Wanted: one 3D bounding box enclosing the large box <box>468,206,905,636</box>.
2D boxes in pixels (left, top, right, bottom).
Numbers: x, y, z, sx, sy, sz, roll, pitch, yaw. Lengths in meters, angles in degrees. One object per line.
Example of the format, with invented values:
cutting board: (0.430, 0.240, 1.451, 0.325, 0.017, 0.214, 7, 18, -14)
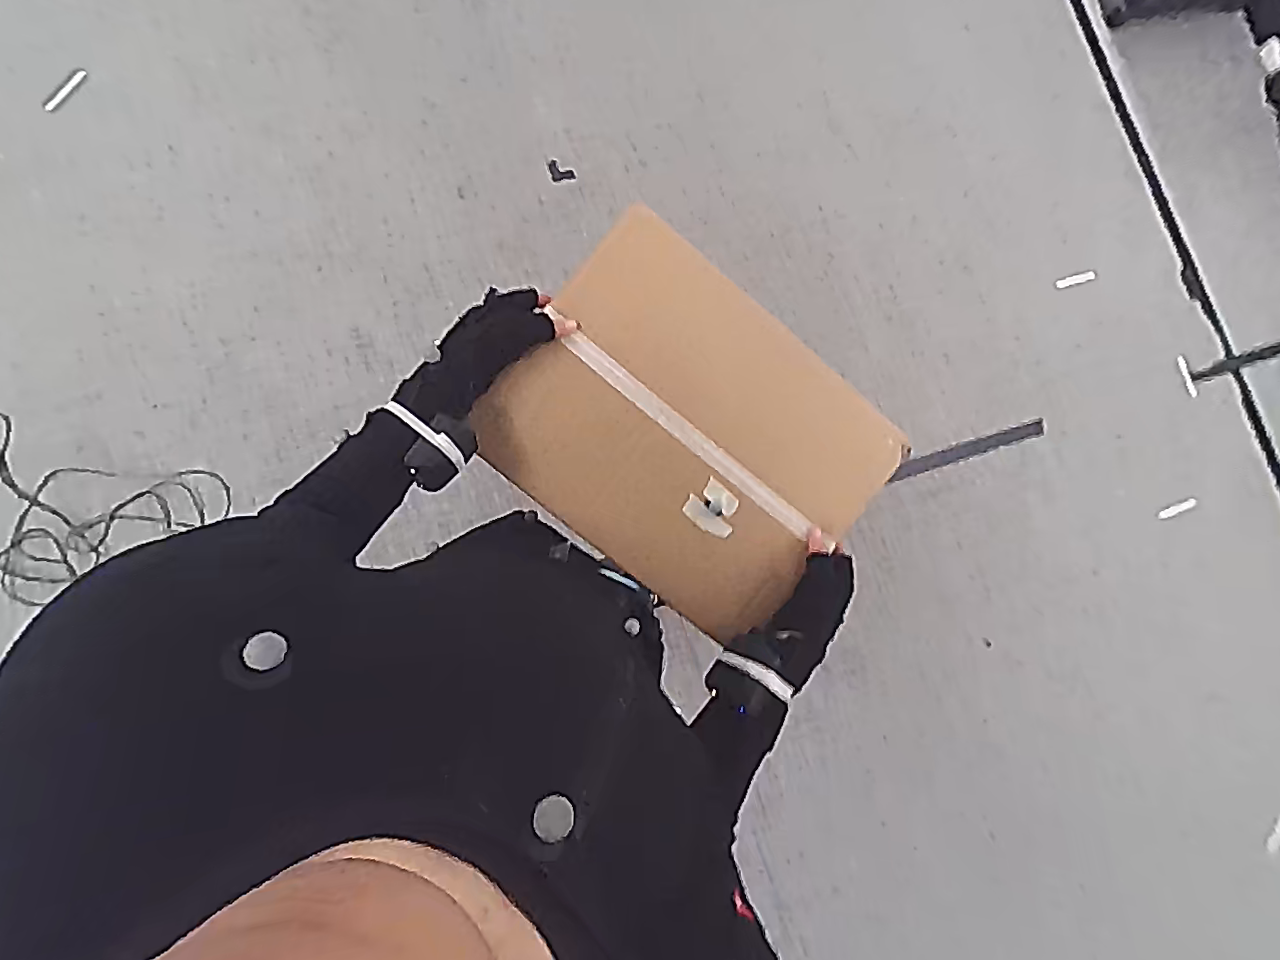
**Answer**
large box: (0.044, -0.067, 0.744, 0.408, 0.320, 0.320, 39, 90, -7)
